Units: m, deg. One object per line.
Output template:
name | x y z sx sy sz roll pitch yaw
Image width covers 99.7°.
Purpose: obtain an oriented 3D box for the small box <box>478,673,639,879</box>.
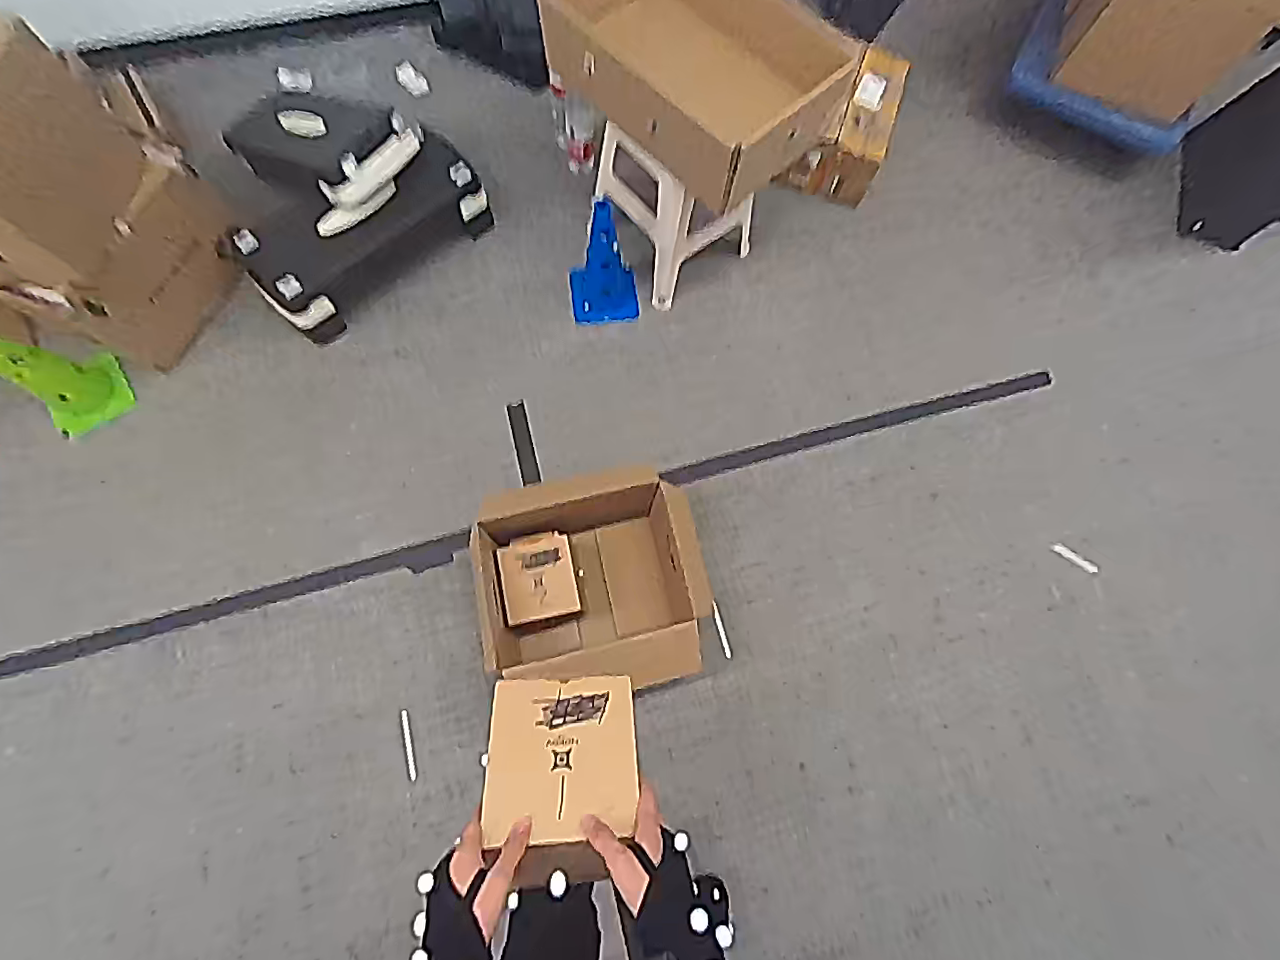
small box | -0.094 0.358 0.660 0.168 0.176 0.179 1 42 -6
